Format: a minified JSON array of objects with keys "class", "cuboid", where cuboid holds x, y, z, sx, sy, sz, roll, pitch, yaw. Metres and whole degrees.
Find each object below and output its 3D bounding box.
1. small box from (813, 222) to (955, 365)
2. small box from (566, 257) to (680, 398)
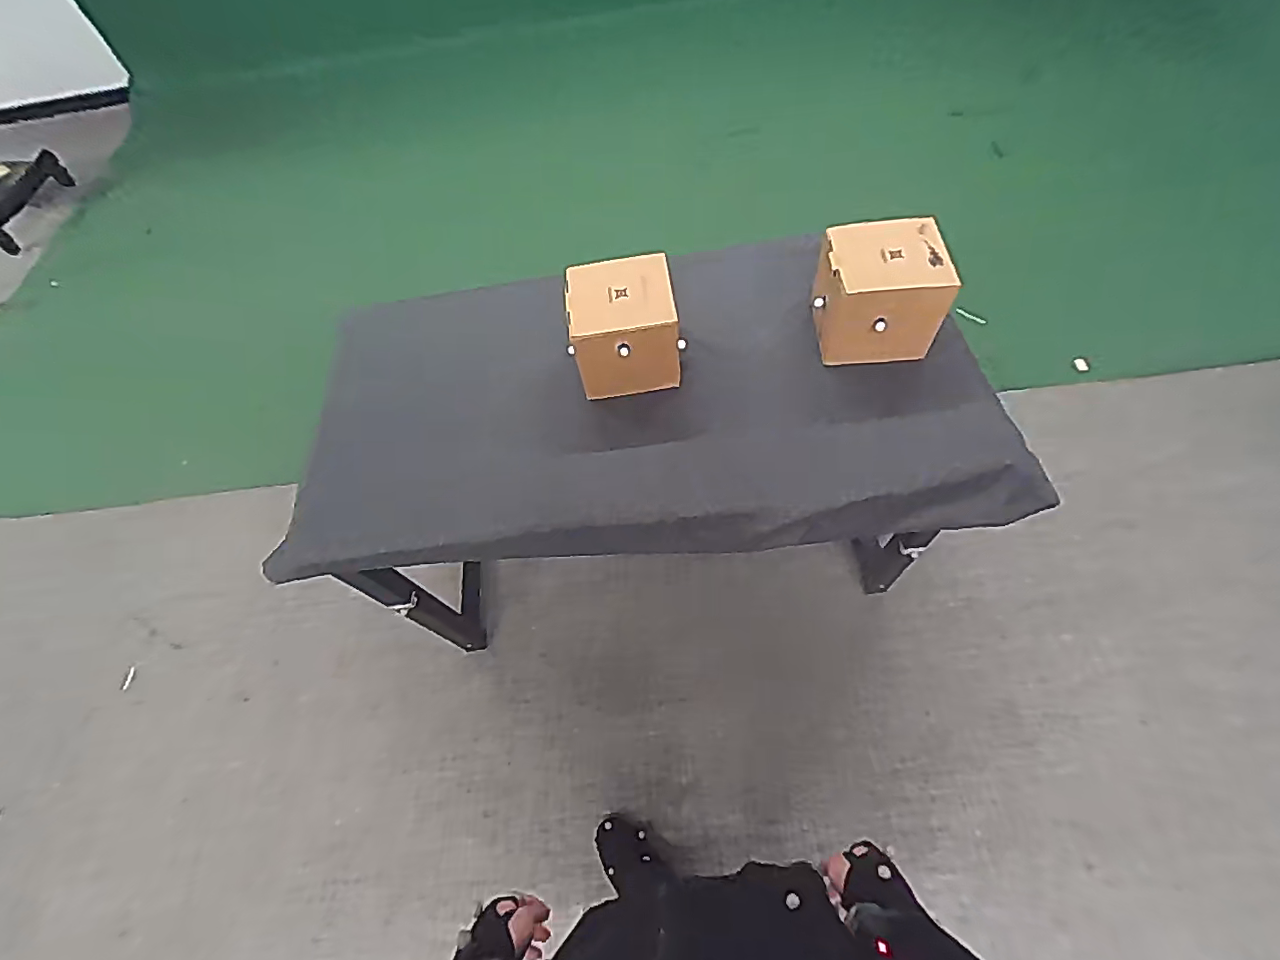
[{"class":"small box","cuboid":[0.406,-0.316,0.939,0.179,0.176,0.168,-3,61,6]},{"class":"small box","cuboid":[-0.027,-0.263,0.964,0.179,0.176,0.168,-8,61,1]}]
